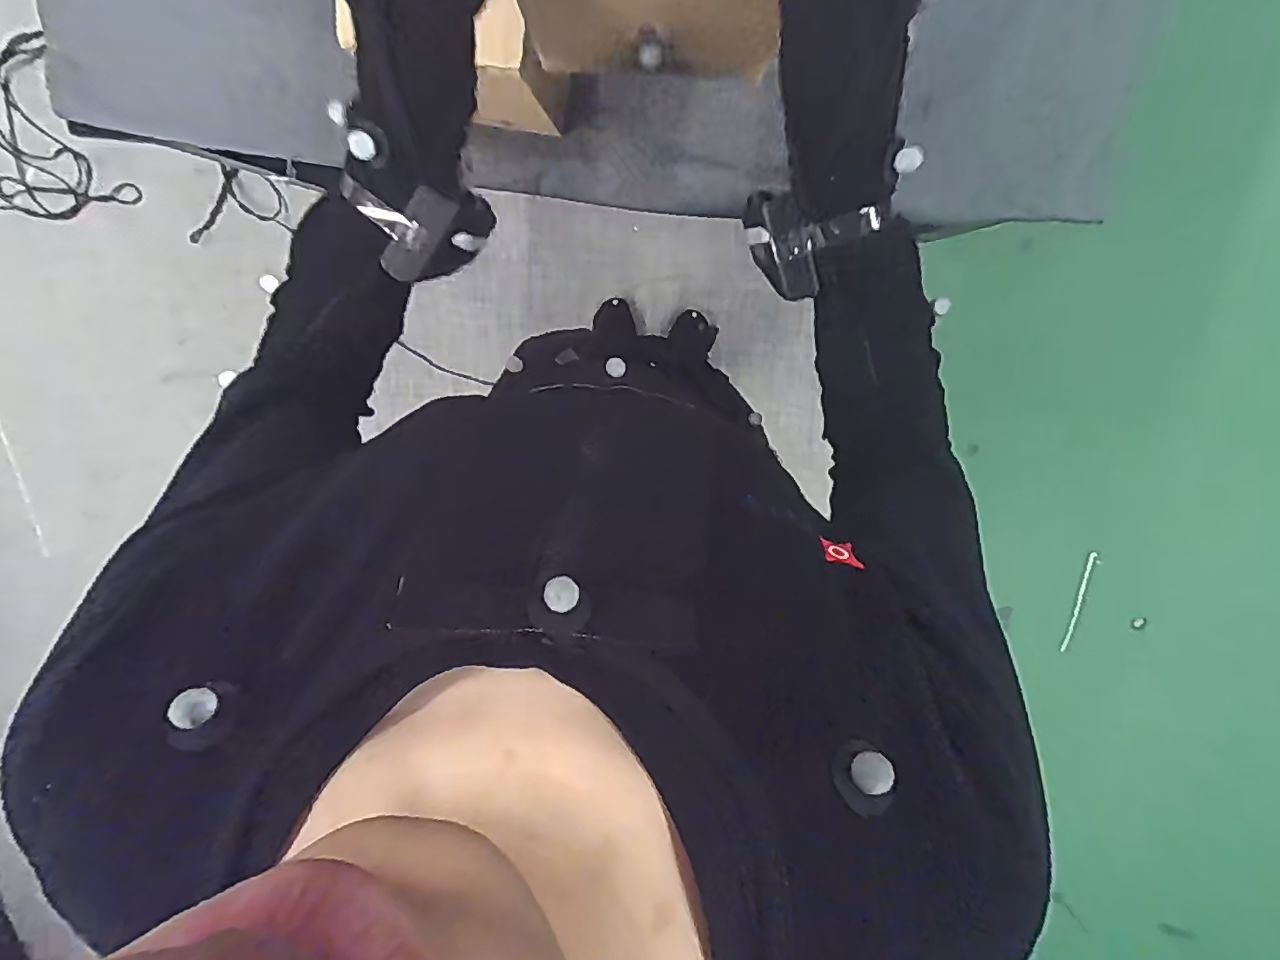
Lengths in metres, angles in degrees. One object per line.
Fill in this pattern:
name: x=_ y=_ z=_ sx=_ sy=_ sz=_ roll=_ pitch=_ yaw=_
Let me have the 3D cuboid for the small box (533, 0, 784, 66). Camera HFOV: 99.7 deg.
small box: x=0.011 y=-0.371 z=0.294 sx=0.168 sy=0.176 sz=0.179 roll=4 pitch=106 yaw=0
